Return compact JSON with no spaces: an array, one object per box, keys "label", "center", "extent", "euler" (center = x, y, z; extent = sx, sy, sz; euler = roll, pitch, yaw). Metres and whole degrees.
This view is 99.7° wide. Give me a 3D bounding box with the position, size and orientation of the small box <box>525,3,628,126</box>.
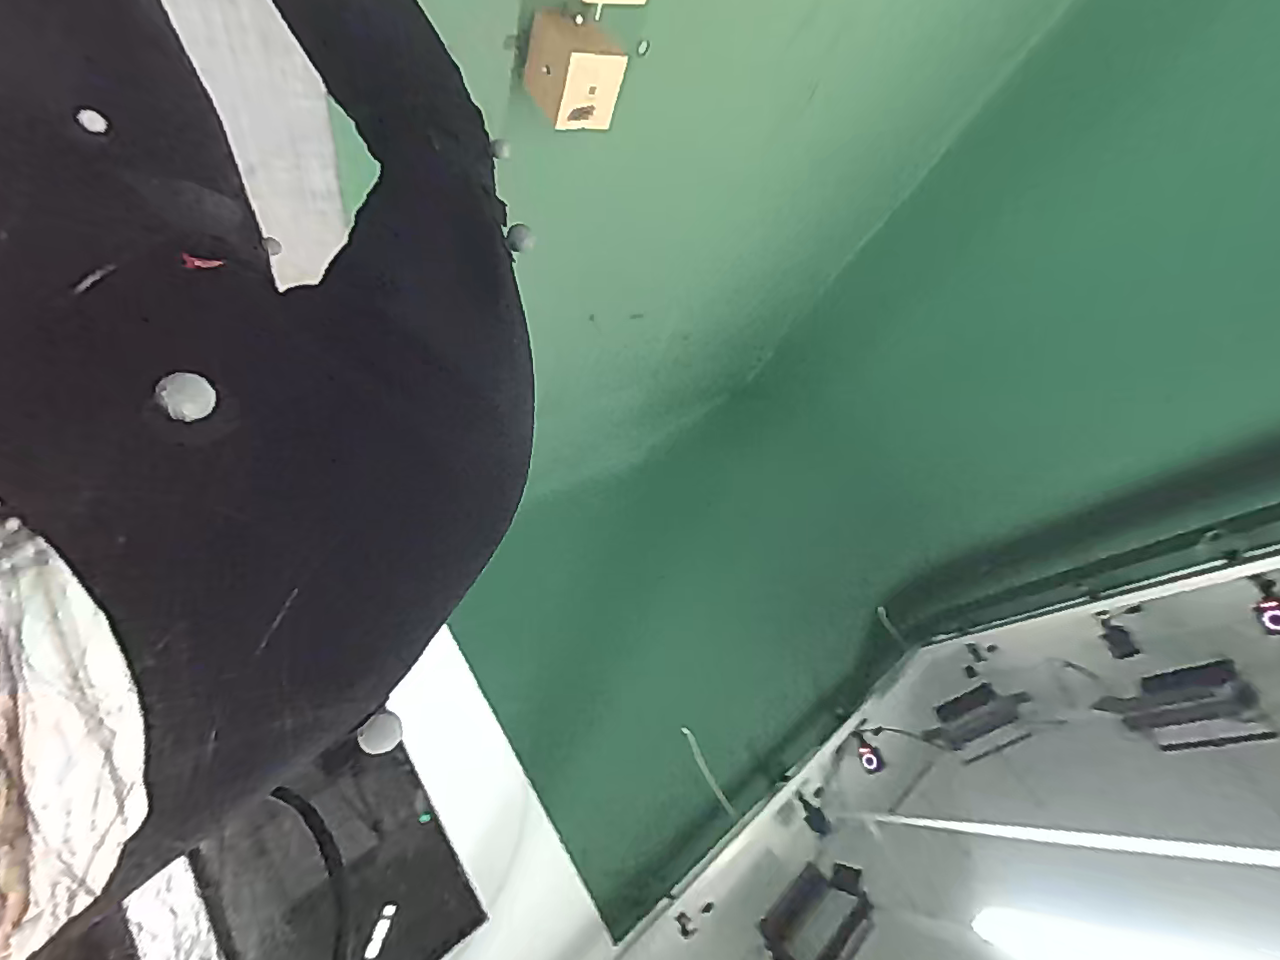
[{"label":"small box","center":[-0.162,-1.004,1.319],"extent":[0.168,0.176,0.179],"euler":[-25,164,-32]}]
